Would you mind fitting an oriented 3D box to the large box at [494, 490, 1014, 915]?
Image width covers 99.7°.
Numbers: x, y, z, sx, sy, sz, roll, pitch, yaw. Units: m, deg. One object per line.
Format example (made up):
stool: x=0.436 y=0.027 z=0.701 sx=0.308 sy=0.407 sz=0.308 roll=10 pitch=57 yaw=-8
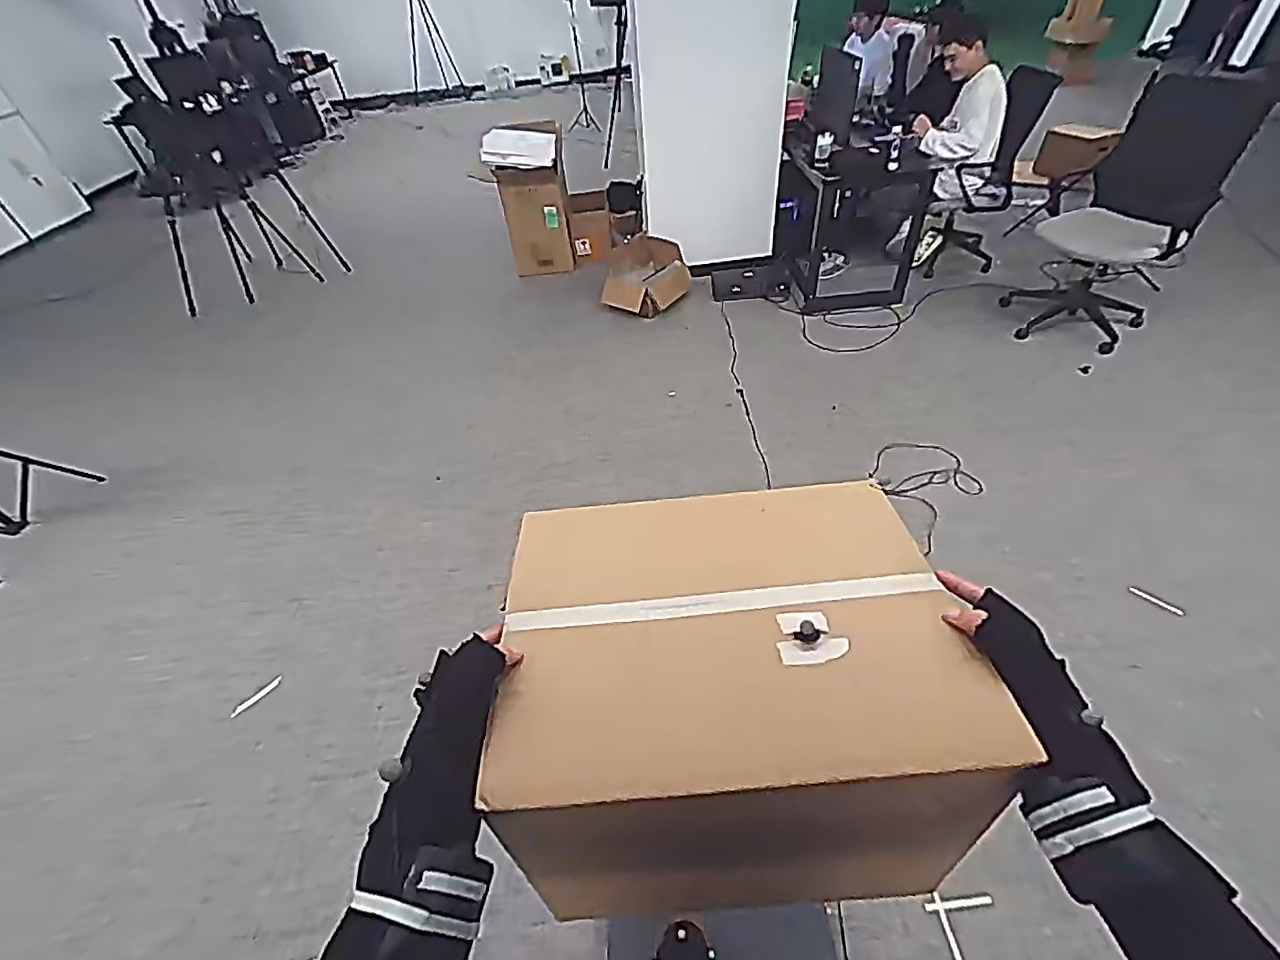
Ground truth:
large box: x=0.087 y=0.242 z=0.610 sx=0.408 sy=0.320 sz=0.320 roll=-5 pitch=39 yaw=1
